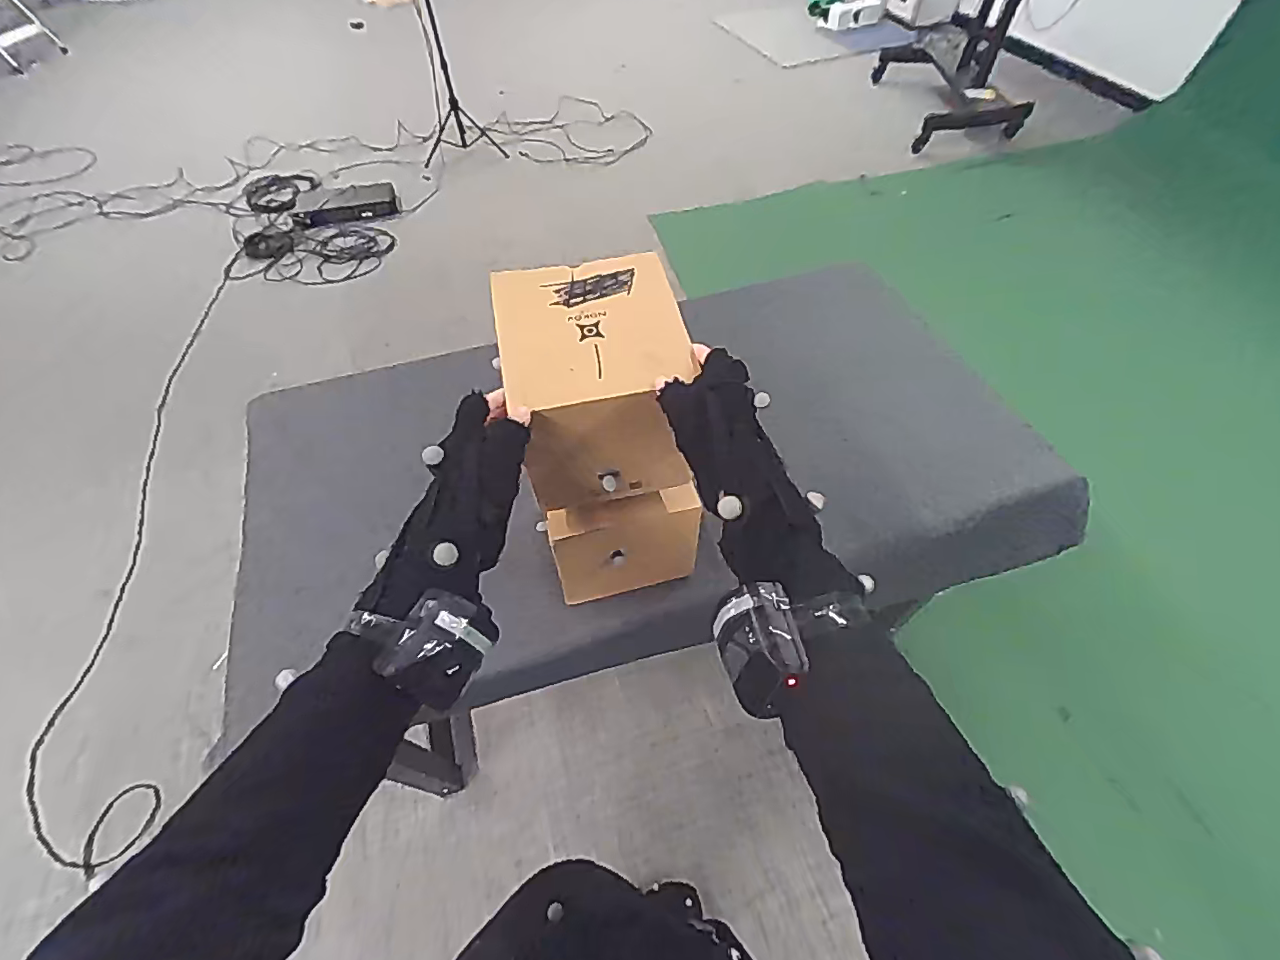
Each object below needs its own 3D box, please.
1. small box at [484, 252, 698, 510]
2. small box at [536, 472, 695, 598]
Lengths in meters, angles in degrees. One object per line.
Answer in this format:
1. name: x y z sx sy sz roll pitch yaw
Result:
1. small box: -0.050 -0.097 0.549 0.168 0.176 0.179 -14 58 -7
2. small box: -0.035 0.033 0.703 0.179 0.176 0.168 -13 54 -7
